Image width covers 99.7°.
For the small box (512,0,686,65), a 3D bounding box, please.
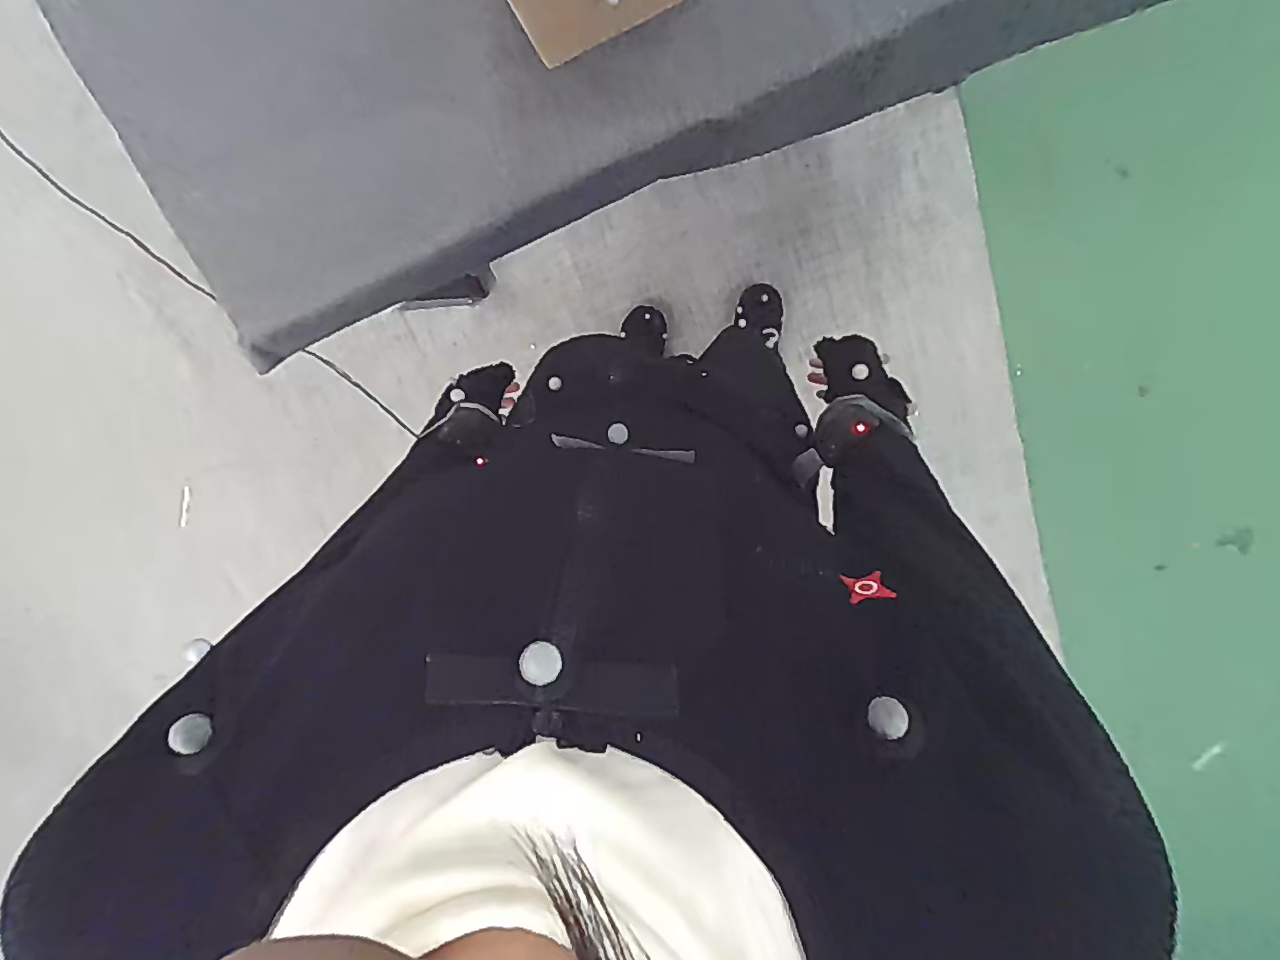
[{"bbox_3d":[-0.045,-0.495,0.445,0.179,0.176,0.168,-19,106,11],"label":"small box"}]
